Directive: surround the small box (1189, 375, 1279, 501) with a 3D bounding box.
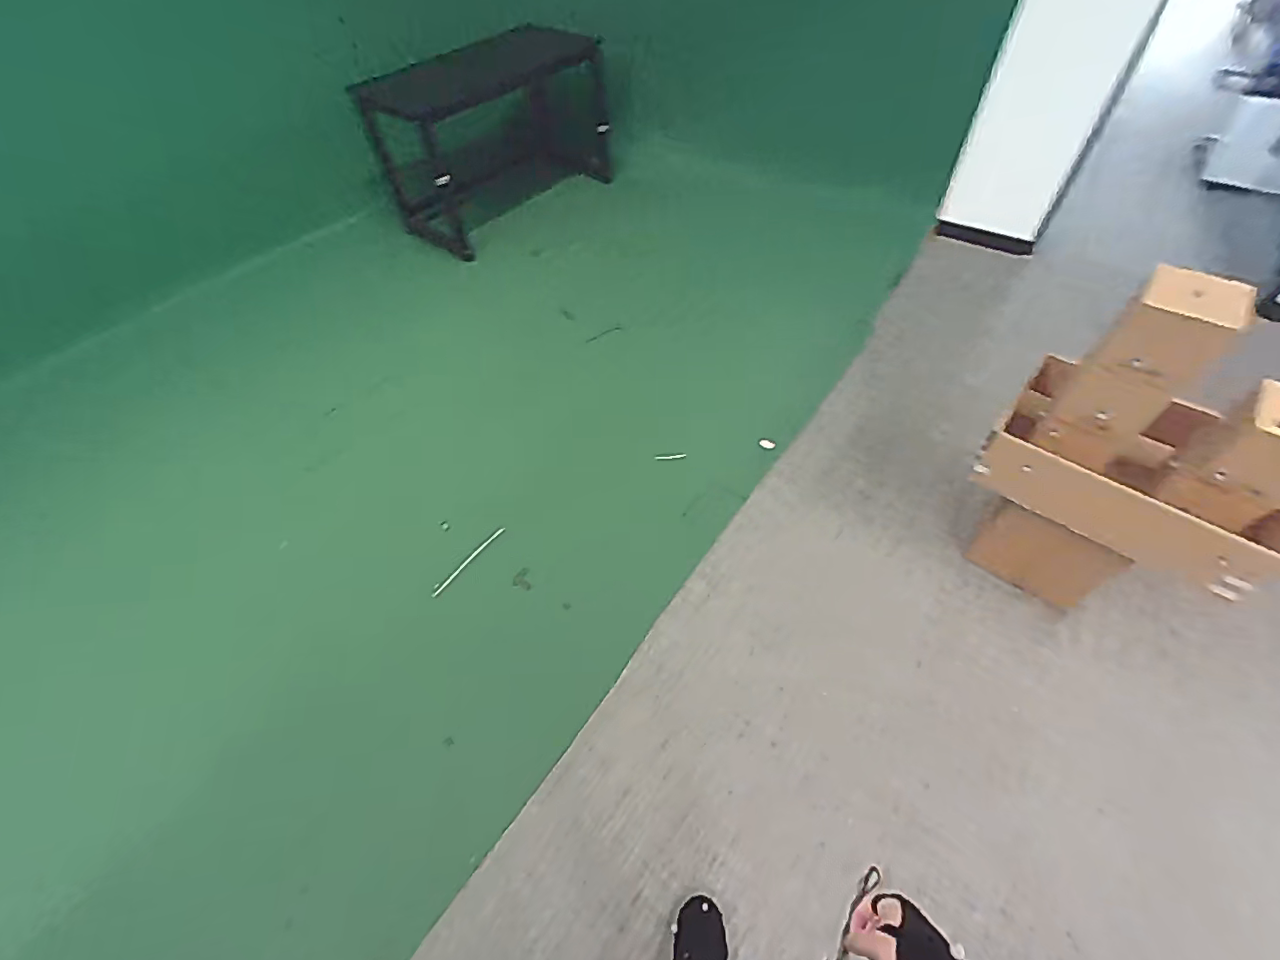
[{"bbox_3d":[1.345,-0.087,1.161,0.168,0.176,0.179,31,61,23],"label":"small box"}]

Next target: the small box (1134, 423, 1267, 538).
[{"bbox_3d":[1.351,0.003,1.299,0.168,0.176,0.179,35,64,25],"label":"small box"}]

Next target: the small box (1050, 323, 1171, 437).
[{"bbox_3d":[1.122,-0.236,1.286,0.168,0.176,0.179,31,61,24],"label":"small box"}]

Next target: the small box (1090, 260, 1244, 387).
[{"bbox_3d":[1.113,-0.333,1.155,0.168,0.176,0.179,31,61,25],"label":"small box"}]
